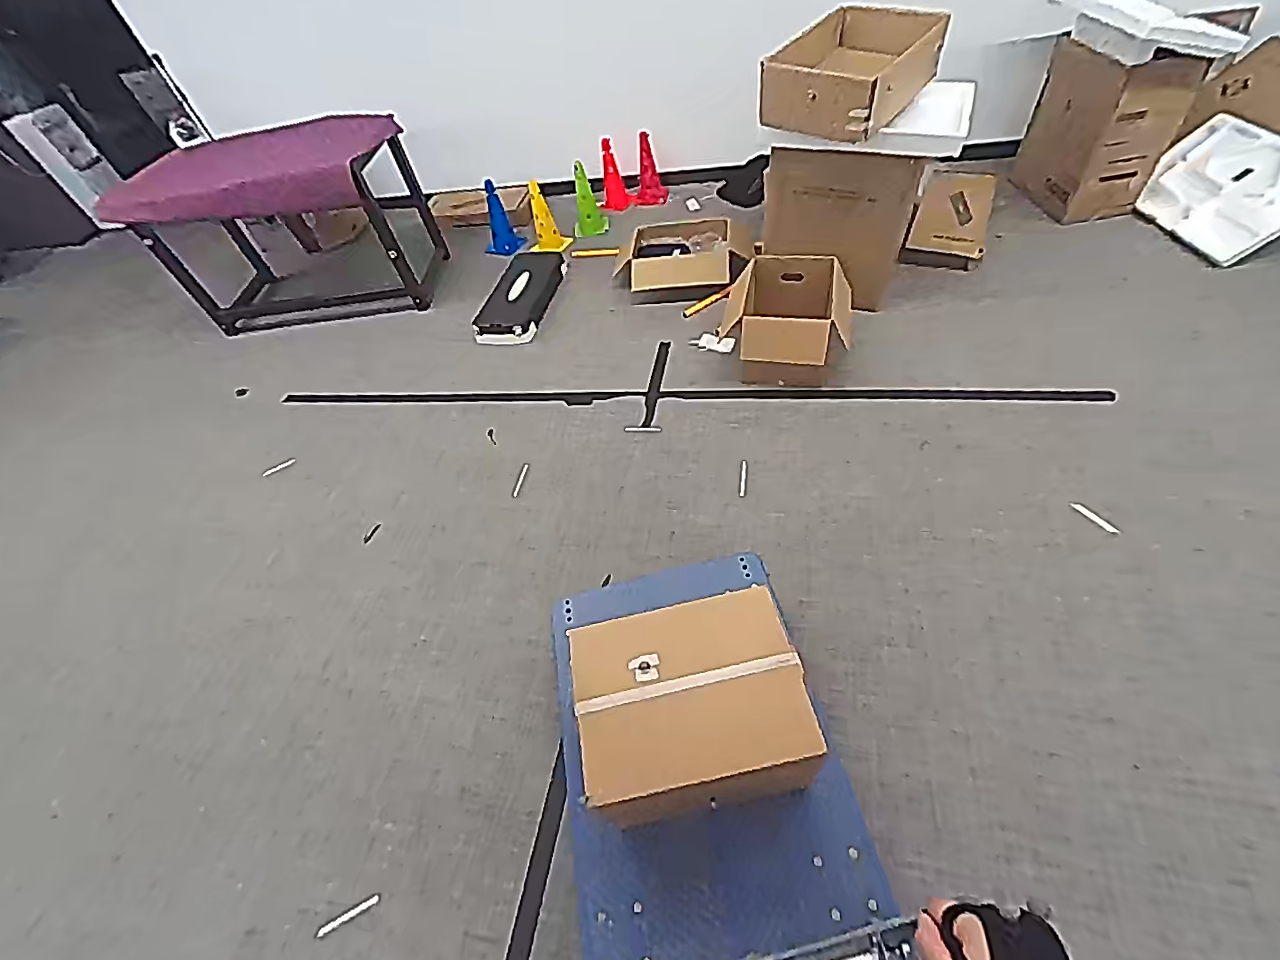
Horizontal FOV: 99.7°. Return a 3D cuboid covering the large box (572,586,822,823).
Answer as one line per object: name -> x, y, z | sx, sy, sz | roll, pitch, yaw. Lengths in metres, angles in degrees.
large box -> 0.107, 0.465, 1.102 | 0.408, 0.320, 0.320 | -14, 50, 0
